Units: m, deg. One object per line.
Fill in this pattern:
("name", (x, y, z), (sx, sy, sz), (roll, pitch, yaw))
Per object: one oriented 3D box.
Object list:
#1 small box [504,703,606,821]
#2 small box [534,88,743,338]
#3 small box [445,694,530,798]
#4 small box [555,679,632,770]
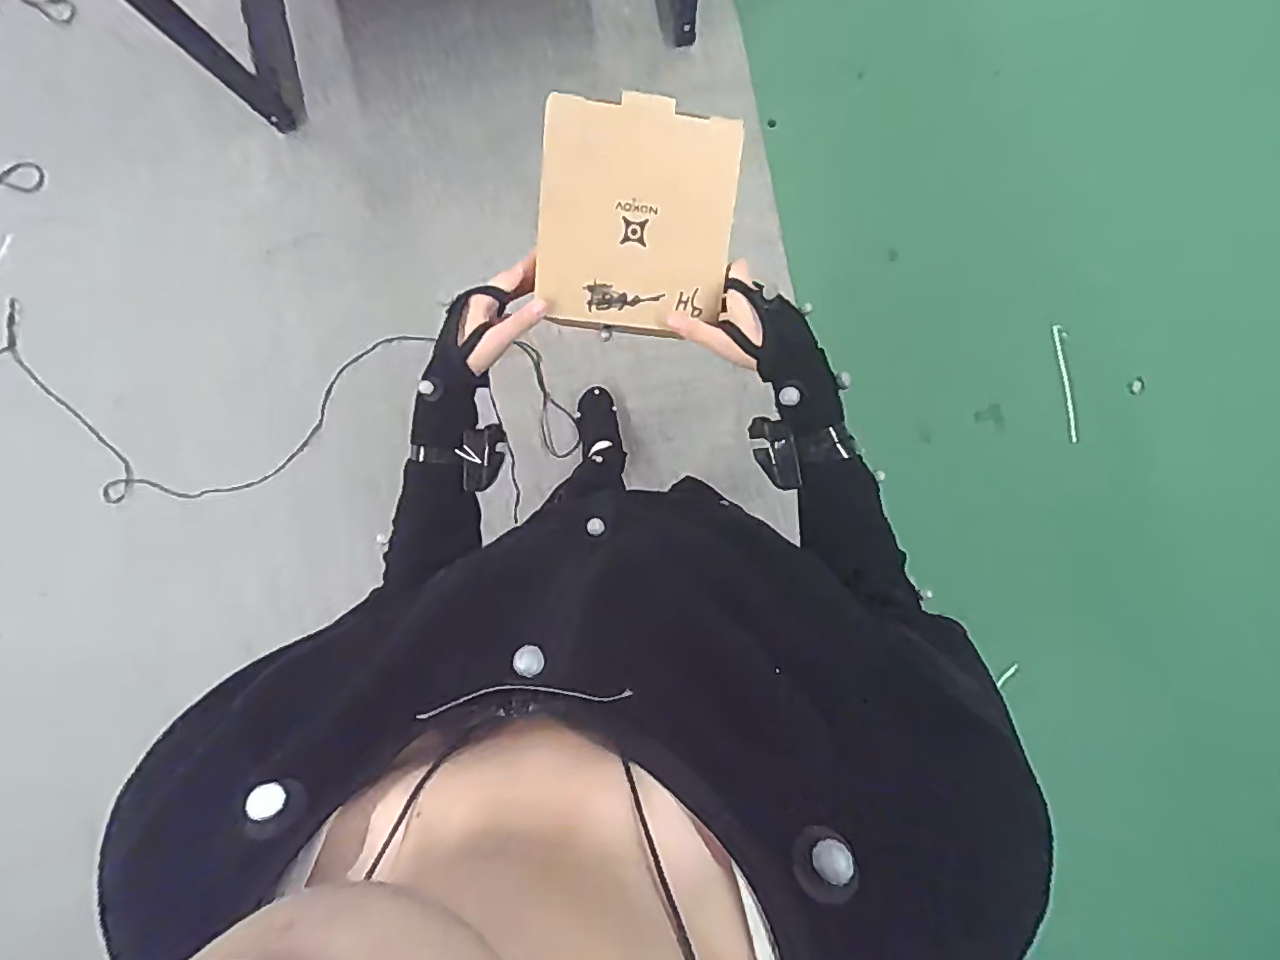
("small box", (-0.191, 0.645, 1.261), (0.168, 0.176, 0.179), (-18, 89, 7))
("small box", (-0.007, -0.243, 0.539), (0.168, 0.176, 0.179), (6, 103, -3))
("small box", (-0.383, 0.698, 1.440), (0.179, 0.176, 0.168), (-20, 90, 4))
("small box", (-0.125, 0.645, 1.419), (0.179, 0.176, 0.168), (-17, 89, 6))
